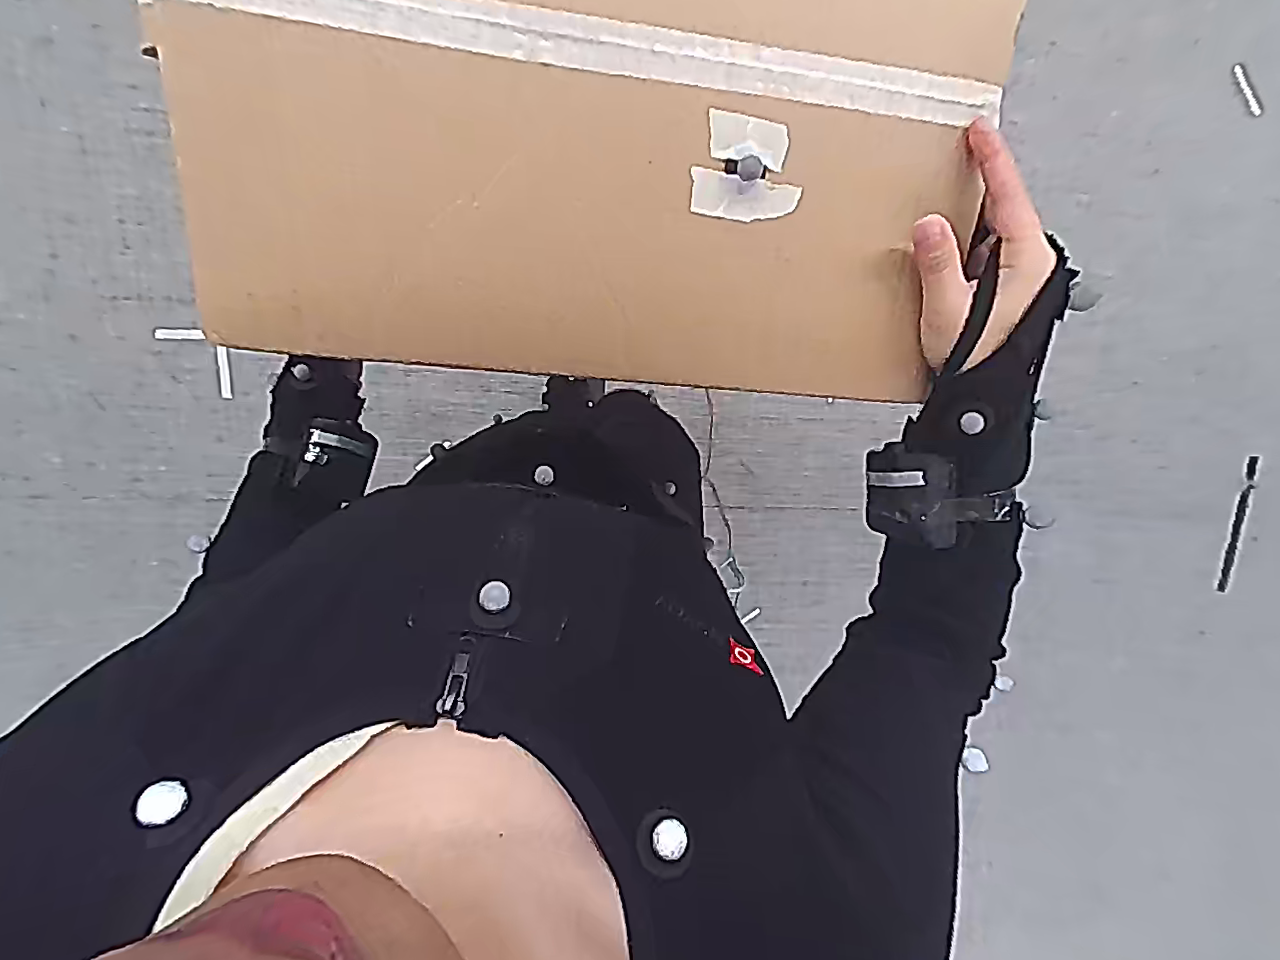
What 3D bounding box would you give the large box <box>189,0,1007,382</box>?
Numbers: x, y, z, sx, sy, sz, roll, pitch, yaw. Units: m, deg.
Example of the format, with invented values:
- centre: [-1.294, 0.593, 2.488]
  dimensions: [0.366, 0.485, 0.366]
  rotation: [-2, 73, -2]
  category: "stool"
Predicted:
- centre: [-0.029, -0.256, 0.413]
  dimensions: [0.408, 0.320, 0.320]
  rotation: [2, 107, -9]
  category: "large box"
